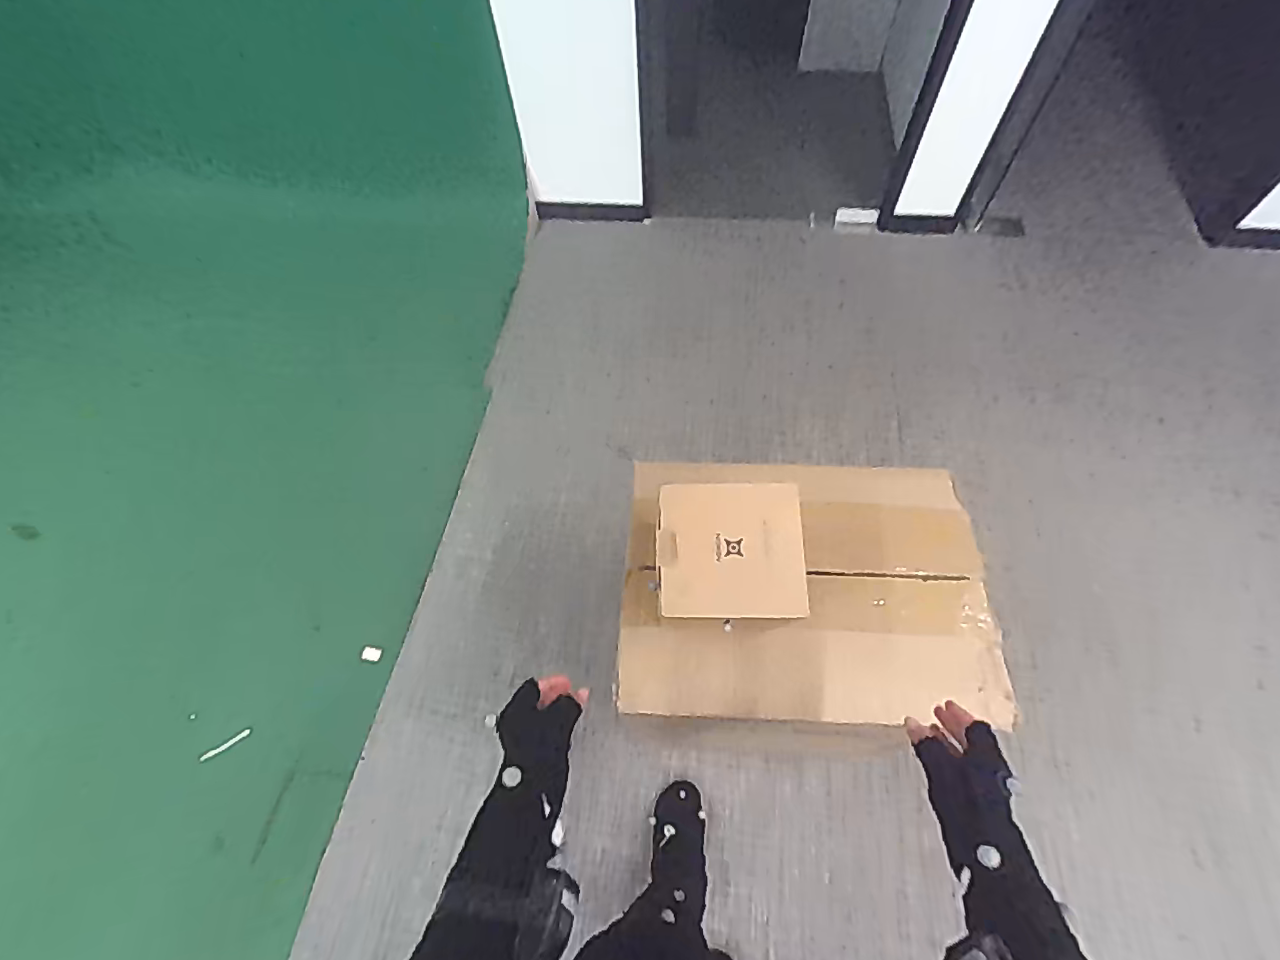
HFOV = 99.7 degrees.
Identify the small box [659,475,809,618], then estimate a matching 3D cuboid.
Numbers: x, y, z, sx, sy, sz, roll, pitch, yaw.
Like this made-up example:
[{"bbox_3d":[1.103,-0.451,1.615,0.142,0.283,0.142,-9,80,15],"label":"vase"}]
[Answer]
[{"bbox_3d":[0.115,0.097,0.735,0.179,0.176,0.168,-1,72,2],"label":"small box"}]
